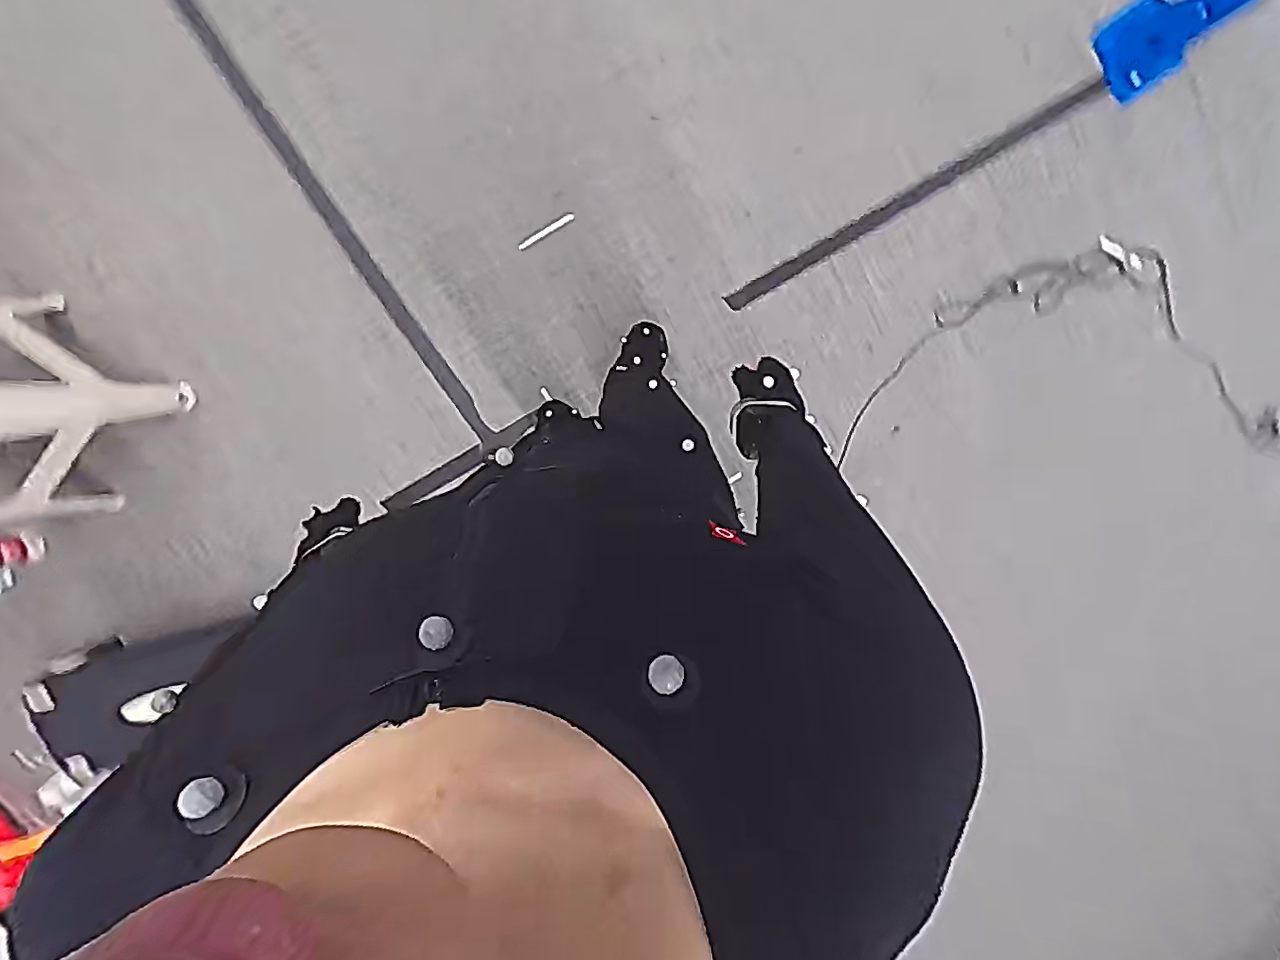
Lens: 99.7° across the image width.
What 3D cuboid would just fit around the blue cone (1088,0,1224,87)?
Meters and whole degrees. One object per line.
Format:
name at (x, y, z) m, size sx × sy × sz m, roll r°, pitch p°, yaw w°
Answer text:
blue cone at (1.251, -1.084, 1.199) m, size 0.193 × 0.380 × 0.192 m, roll -35°, pitch 102°, yaw 2°
